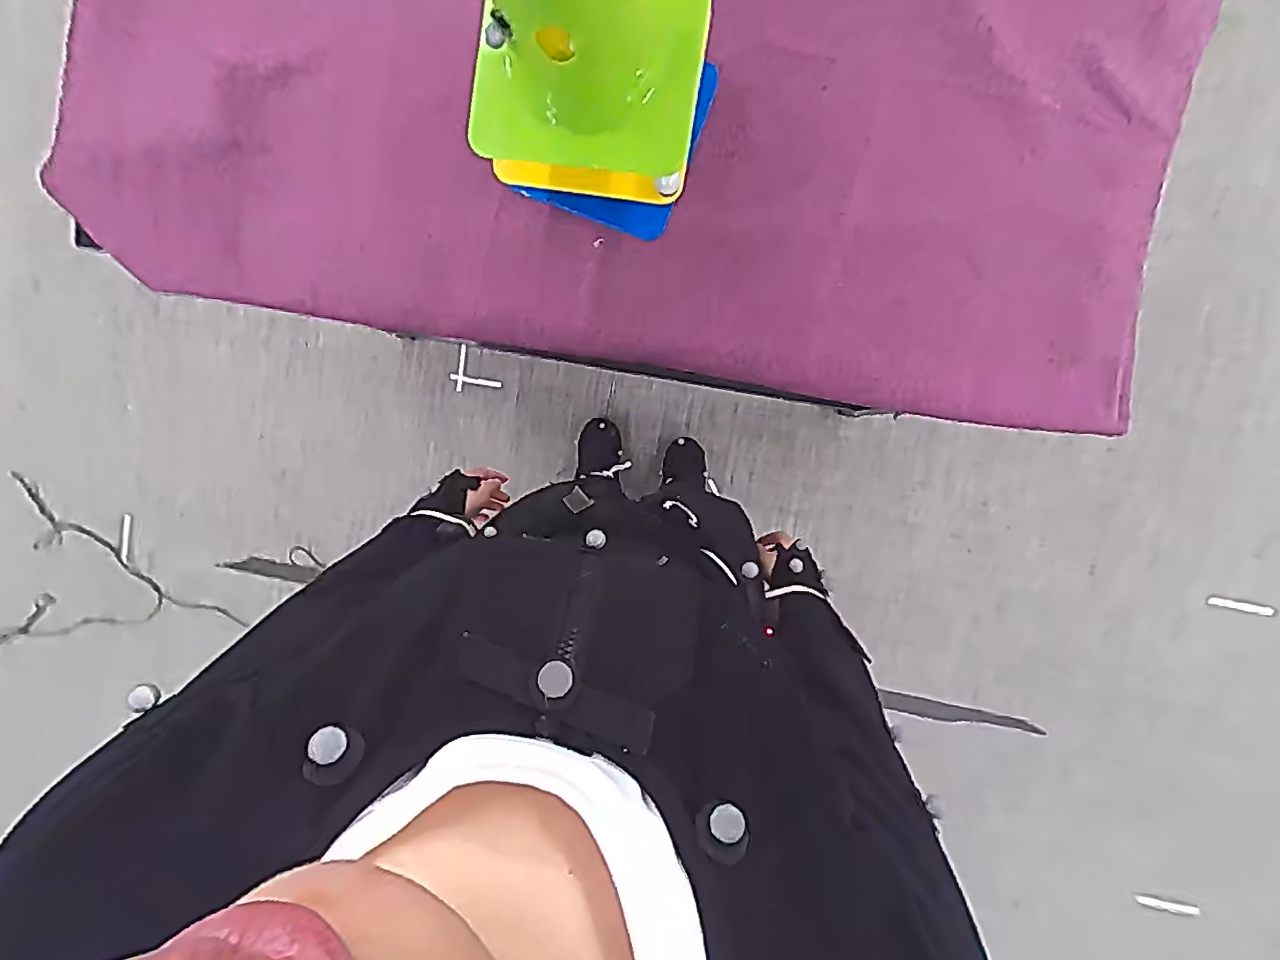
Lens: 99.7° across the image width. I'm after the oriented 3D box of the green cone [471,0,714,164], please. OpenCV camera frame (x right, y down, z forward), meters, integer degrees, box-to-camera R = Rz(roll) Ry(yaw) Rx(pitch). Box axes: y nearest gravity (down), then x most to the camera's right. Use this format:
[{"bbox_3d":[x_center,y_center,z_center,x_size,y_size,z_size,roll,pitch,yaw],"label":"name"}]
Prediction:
[{"bbox_3d":[-0.059,-0.371,0.294,0.200,0.368,0.202,8,94,5],"label":"green cone"}]
